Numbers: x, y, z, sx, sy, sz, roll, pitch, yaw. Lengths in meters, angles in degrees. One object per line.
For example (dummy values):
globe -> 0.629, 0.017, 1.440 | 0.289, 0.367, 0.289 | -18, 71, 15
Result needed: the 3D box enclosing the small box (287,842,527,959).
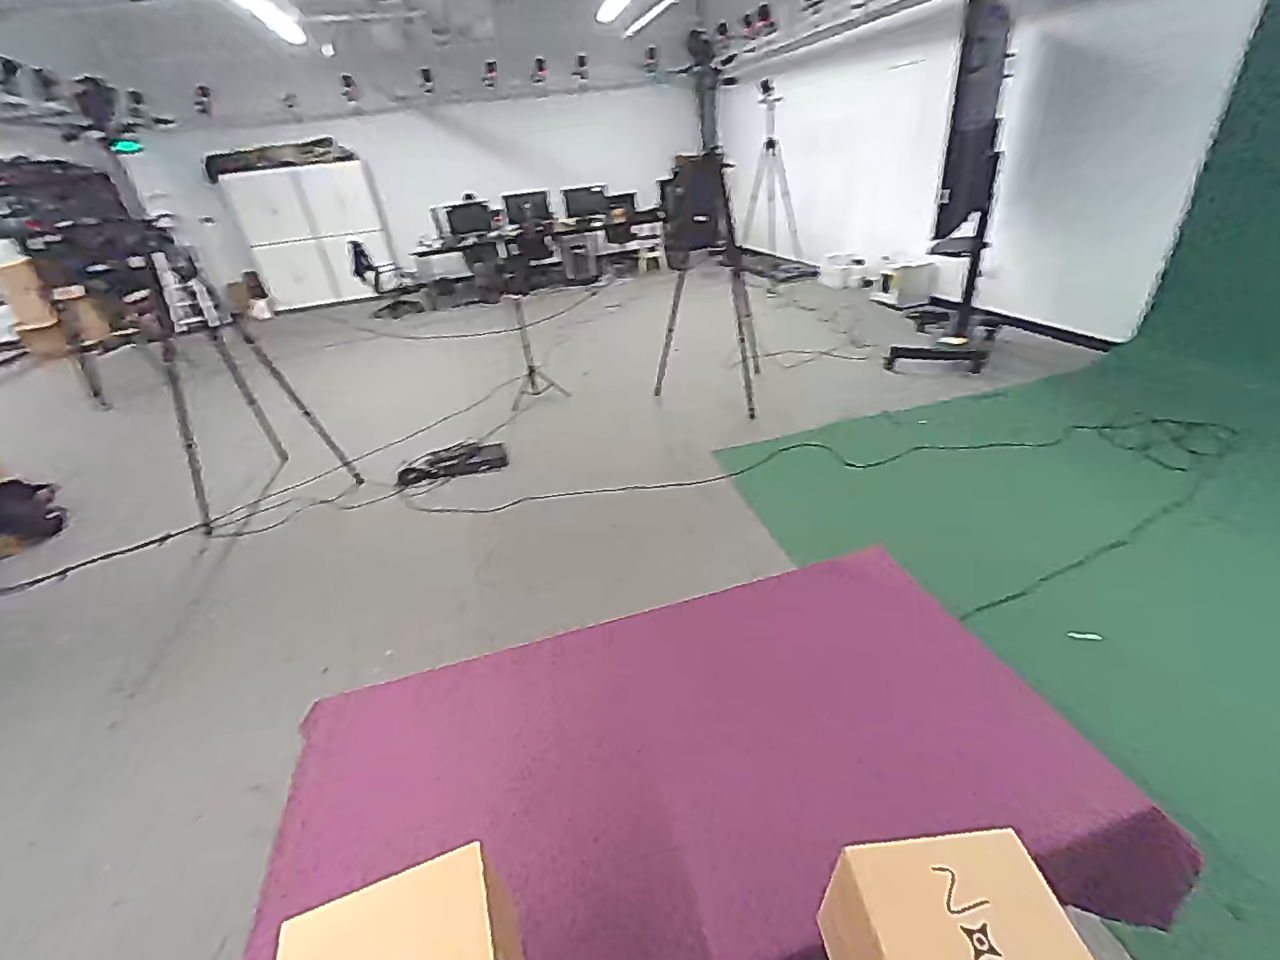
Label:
small box -> -0.183, 0.458, 0.455 | 0.168, 0.176, 0.179 | -14, 39, -15
